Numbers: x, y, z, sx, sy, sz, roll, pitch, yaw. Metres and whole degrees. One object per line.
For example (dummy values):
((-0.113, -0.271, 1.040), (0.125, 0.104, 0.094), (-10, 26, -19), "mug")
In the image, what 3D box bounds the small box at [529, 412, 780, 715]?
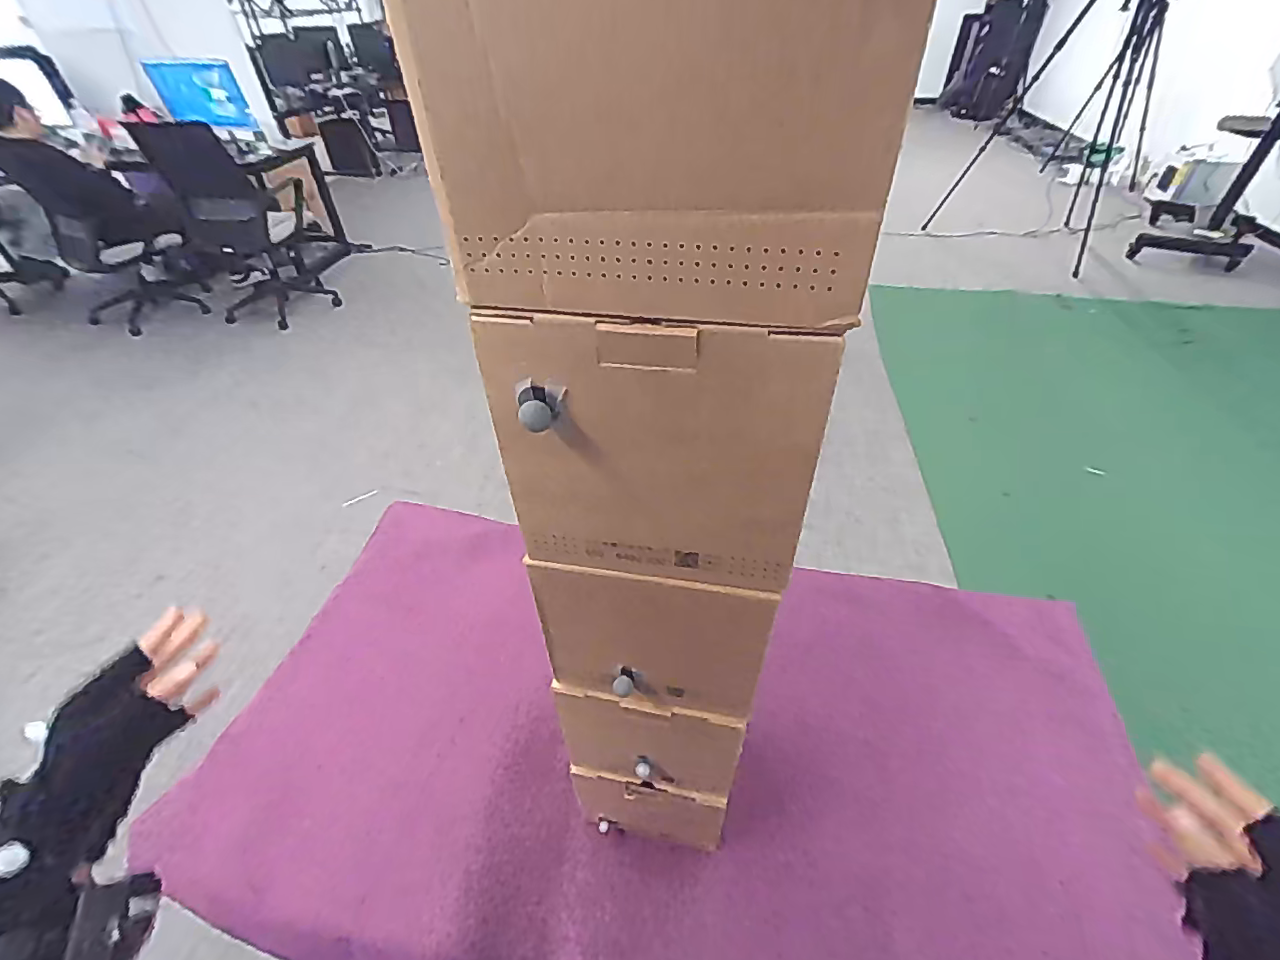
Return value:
((0.022, 0.066, 0.461), (0.168, 0.176, 0.179), (7, 43, 10), "small box")

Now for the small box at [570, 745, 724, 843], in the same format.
((0.025, 0.317, 0.671), (0.168, 0.176, 0.179), (8, 42, 10), "small box")

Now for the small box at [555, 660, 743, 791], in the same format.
((0.022, 0.190, 0.567), (0.168, 0.176, 0.179), (7, 43, 10), "small box")

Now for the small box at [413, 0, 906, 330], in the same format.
((0.014, -0.182, 0.249), (0.179, 0.176, 0.168), (7, 41, 9), "small box")
